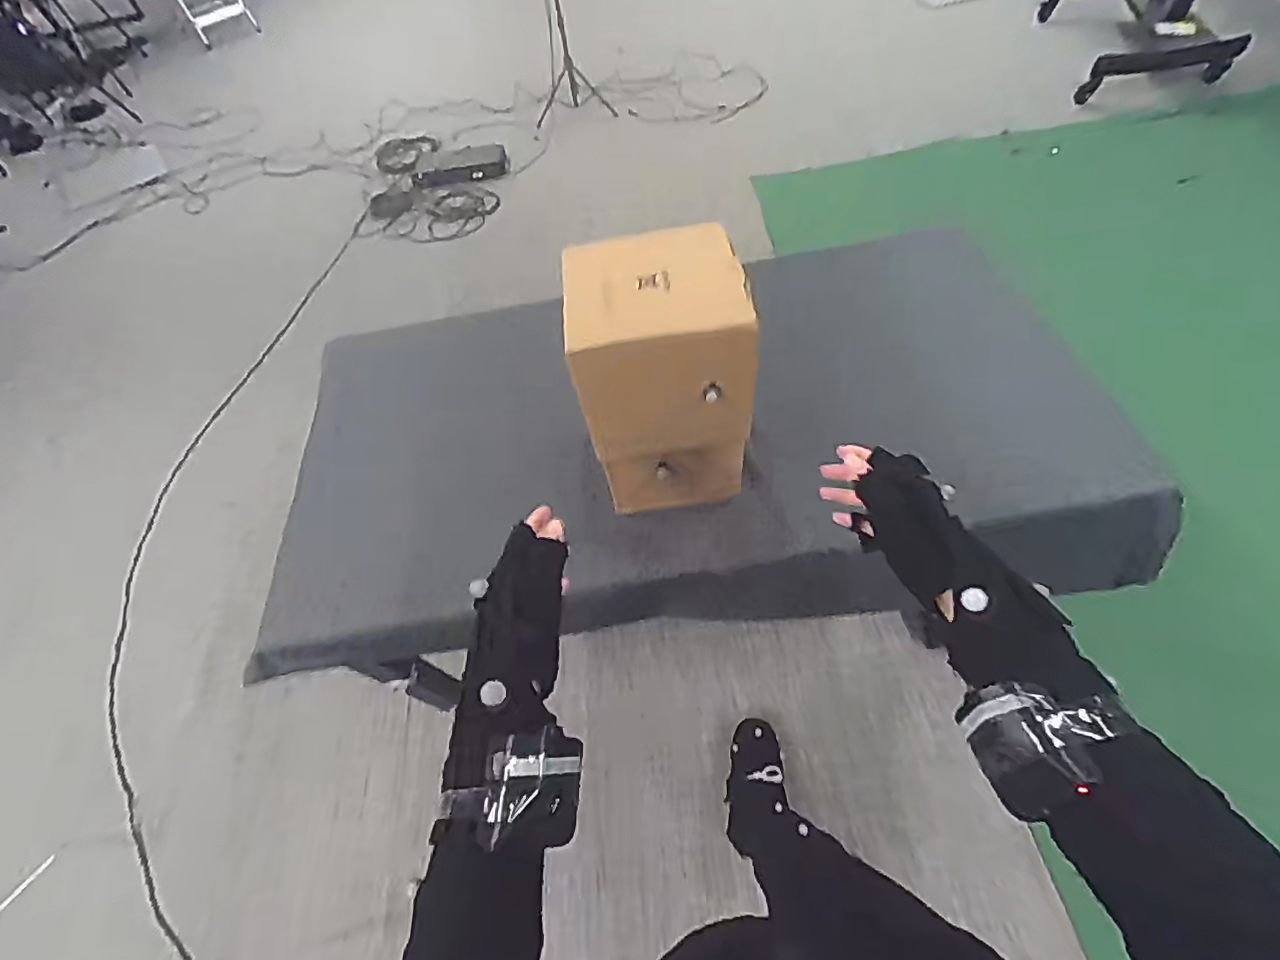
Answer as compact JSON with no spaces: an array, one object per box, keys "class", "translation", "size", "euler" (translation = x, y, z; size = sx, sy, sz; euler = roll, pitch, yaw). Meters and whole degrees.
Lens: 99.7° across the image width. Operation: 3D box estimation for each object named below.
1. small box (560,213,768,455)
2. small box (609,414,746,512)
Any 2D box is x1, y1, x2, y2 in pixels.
[{"class":"small box","translation":[0.022,-0.149,0.580],"size":[0.179,0.176,0.168],"euler":[-12,56,0]},{"class":"small box","translation":[0.040,-0.074,0.747],"size":[0.179,0.176,0.168],"euler":[-11,55,0]}]
